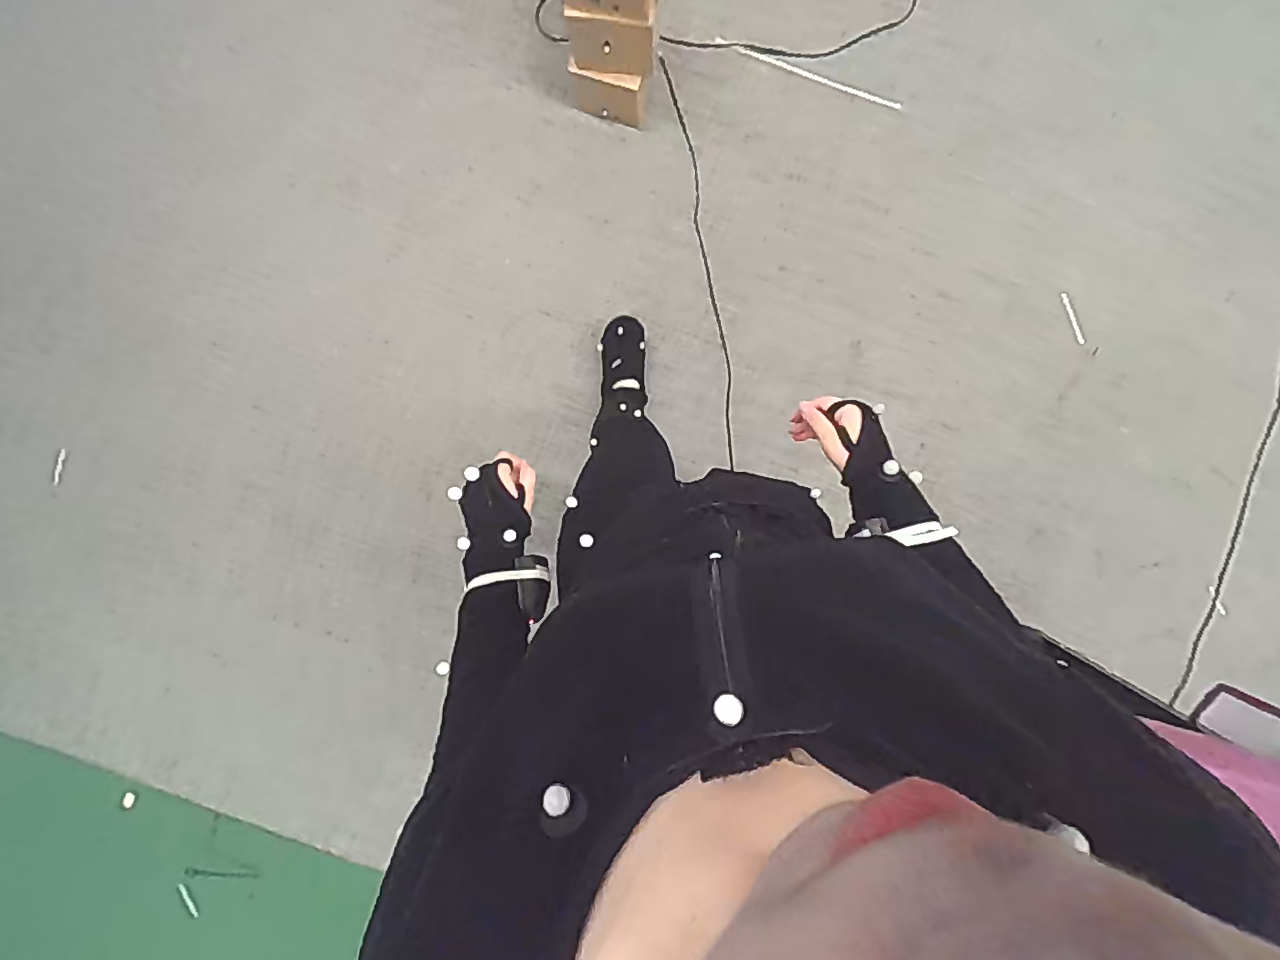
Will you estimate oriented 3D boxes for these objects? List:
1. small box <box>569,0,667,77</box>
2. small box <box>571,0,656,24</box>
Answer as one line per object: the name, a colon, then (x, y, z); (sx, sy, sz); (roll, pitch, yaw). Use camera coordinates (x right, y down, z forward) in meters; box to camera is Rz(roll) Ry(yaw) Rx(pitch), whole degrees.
small box: (-0.039, -0.971, 1.115); (0.179, 0.176, 0.168); (7, 98, 3)
small box: (-0.045, -0.964, 0.952); (0.168, 0.176, 0.179); (10, 99, 2)
